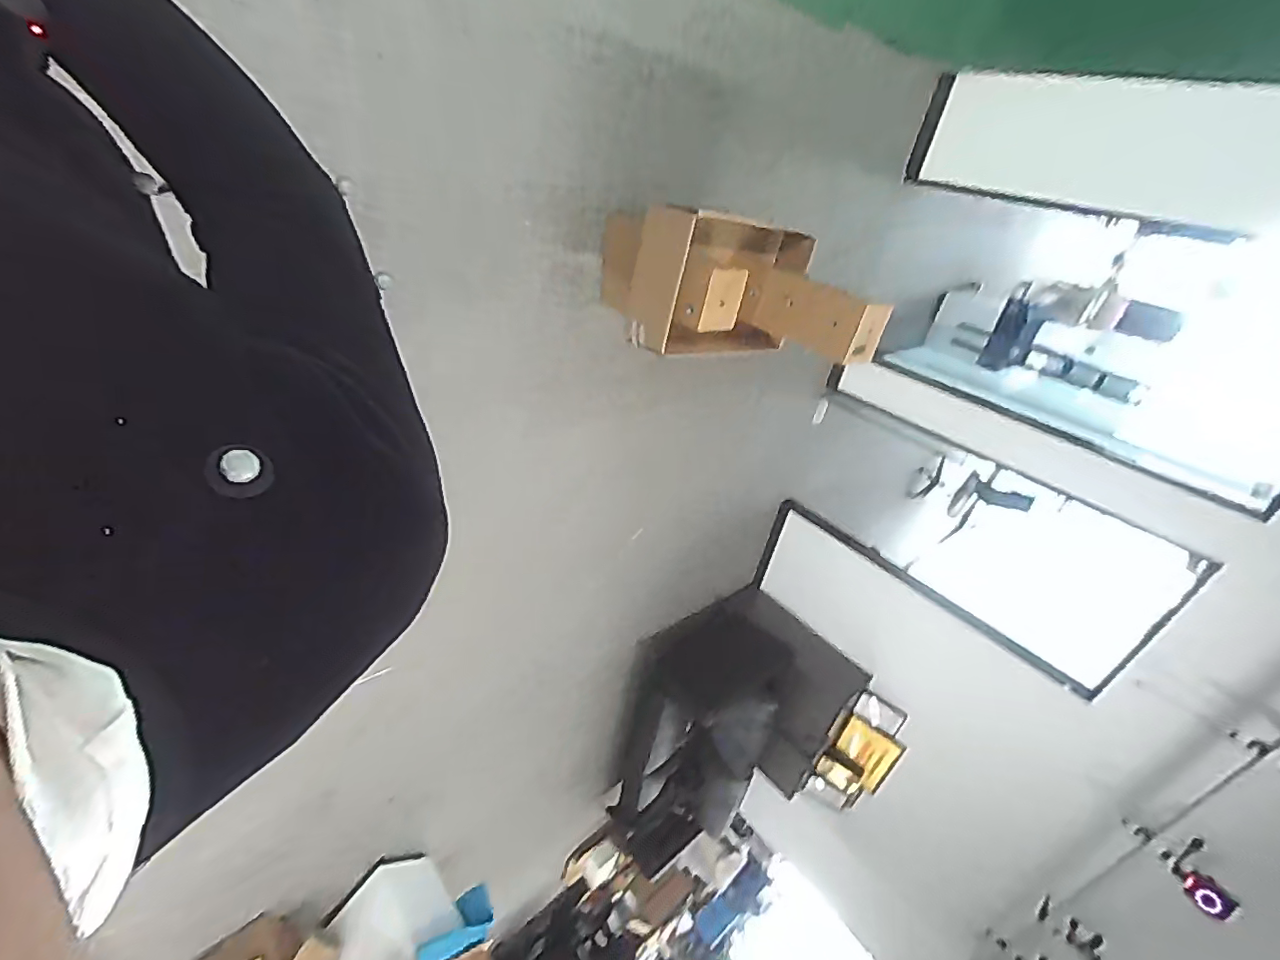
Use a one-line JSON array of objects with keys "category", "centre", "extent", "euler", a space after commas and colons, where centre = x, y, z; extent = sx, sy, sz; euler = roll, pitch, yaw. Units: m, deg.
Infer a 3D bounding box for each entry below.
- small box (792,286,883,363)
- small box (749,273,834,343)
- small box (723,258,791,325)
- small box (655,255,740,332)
[{"category": "small box", "centre": [0.579, -0.462, 1.612], "extent": [0.168, 0.176, 0.179], "euler": [-14, 128, -41]}, {"category": "small box", "centre": [0.472, -0.543, 1.707], "extent": [0.168, 0.176, 0.179], "euler": [-12, 127, -41]}, {"category": "small box", "centre": [0.363, -0.624, 1.799], "extent": [0.168, 0.176, 0.179], "euler": [-12, 129, -43]}, {"category": "small box", "centre": [0.166, -0.559, 1.620], "extent": [0.168, 0.176, 0.179], "euler": [-18, 131, -41]}]
